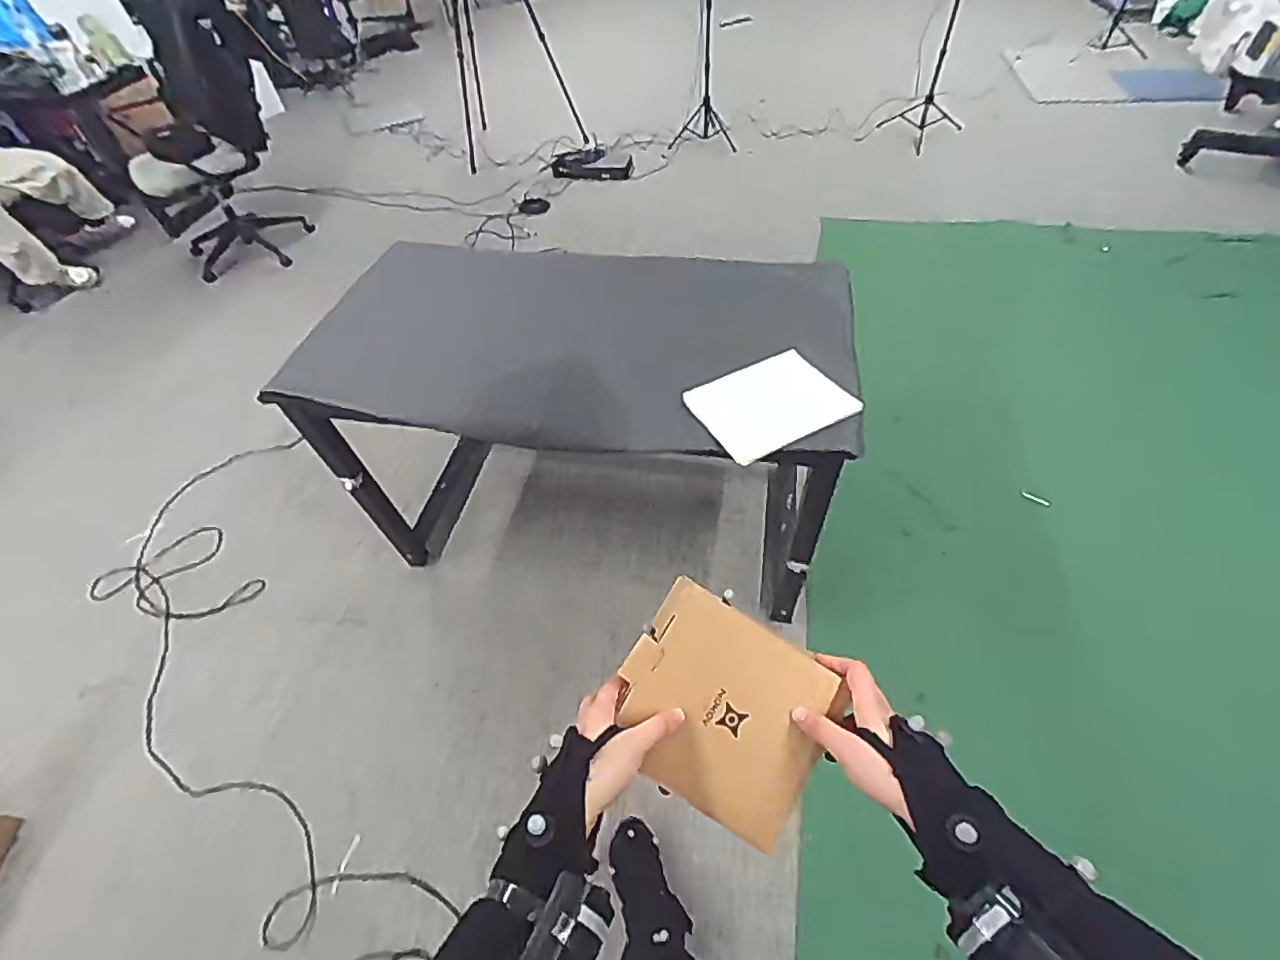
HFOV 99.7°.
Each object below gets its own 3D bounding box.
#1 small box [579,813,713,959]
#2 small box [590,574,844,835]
[{"bbox_3d":[0.019,0.802,1.075,0.176,0.168,0.179,47,45,-6],"label":"small box"},{"bbox_3d":[0.073,0.208,0.564,0.179,0.176,0.168,30,85,6],"label":"small box"}]
